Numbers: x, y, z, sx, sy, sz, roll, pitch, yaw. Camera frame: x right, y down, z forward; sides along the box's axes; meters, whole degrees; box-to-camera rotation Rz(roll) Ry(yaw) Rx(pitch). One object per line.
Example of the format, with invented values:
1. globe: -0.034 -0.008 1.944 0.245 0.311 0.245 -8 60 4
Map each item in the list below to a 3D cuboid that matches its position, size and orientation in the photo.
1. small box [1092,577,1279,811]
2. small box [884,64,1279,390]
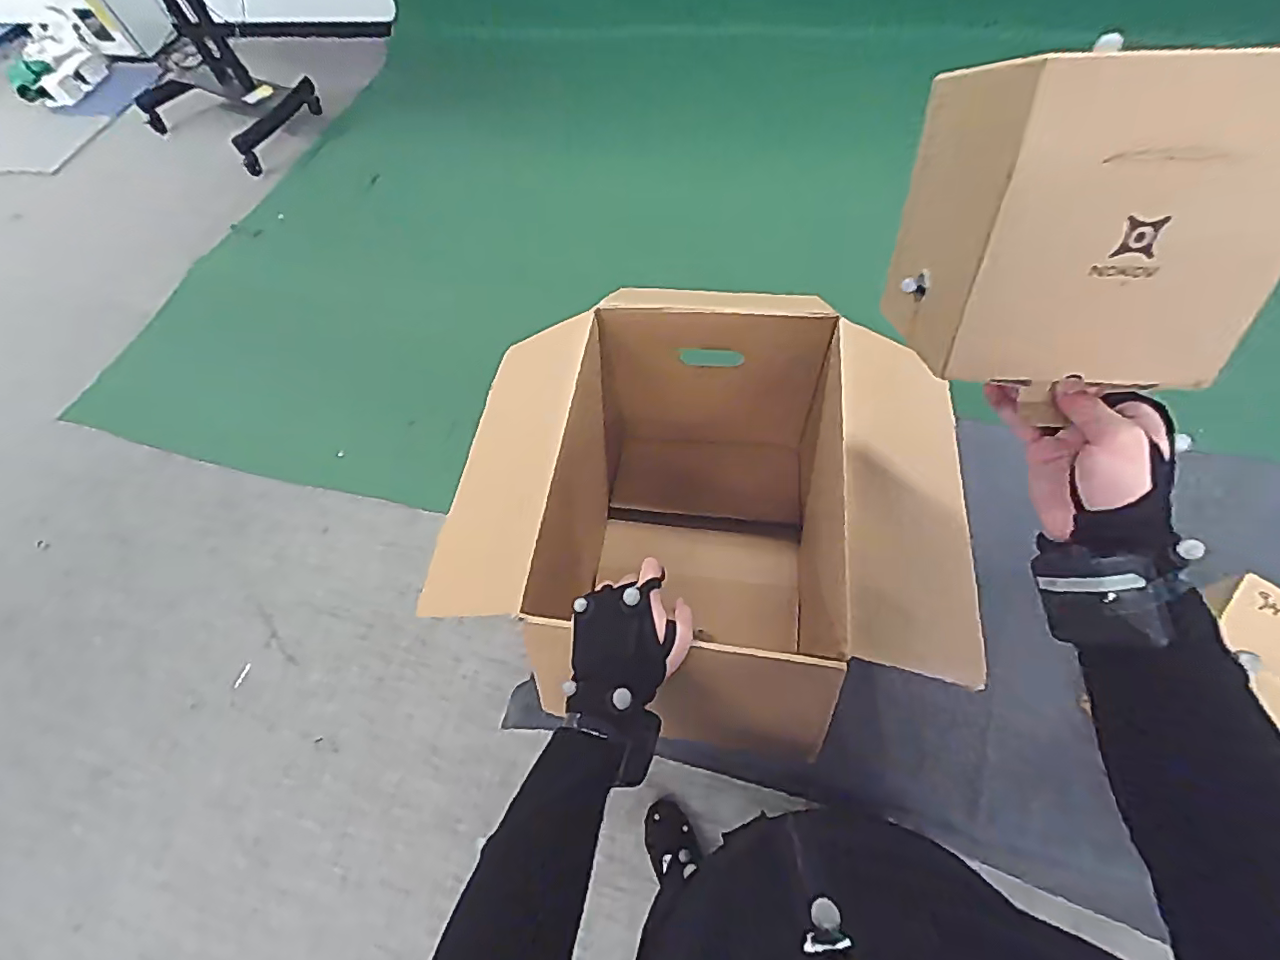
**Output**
1. small box: 0.673 0.247 0.614 0.179 0.176 0.168 -40 64 -14
2. small box: 0.291 -0.180 0.386 0.168 0.179 0.176 2 33 6
